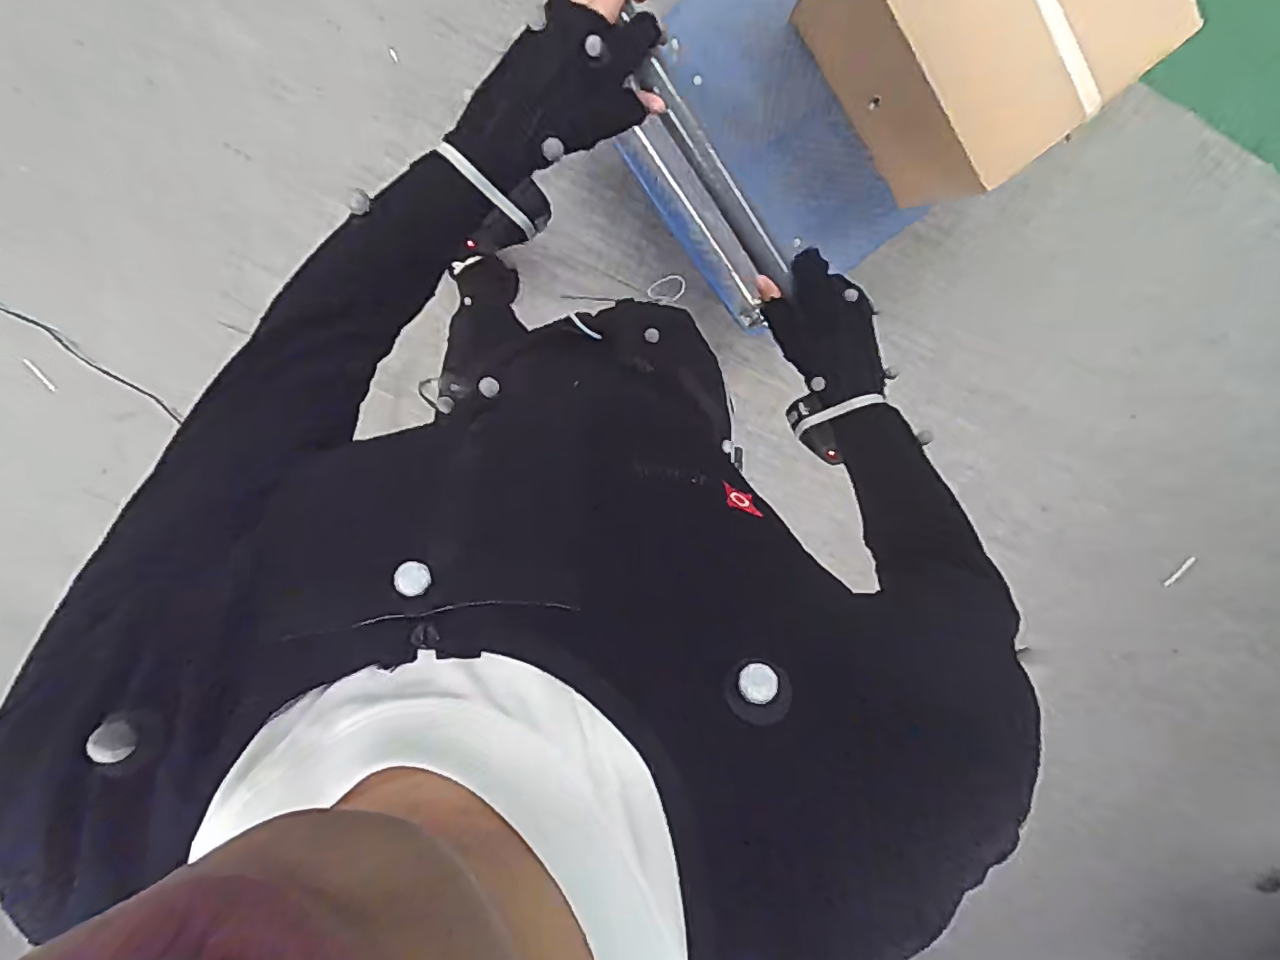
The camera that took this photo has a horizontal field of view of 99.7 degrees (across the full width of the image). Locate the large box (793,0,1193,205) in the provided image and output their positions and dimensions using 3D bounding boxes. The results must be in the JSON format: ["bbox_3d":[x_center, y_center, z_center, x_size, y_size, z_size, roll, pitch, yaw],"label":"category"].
[{"bbox_3d":[0.505,-0.714,0.847,0.320,0.320,0.408,-37,107,15],"label":"large box"}]
